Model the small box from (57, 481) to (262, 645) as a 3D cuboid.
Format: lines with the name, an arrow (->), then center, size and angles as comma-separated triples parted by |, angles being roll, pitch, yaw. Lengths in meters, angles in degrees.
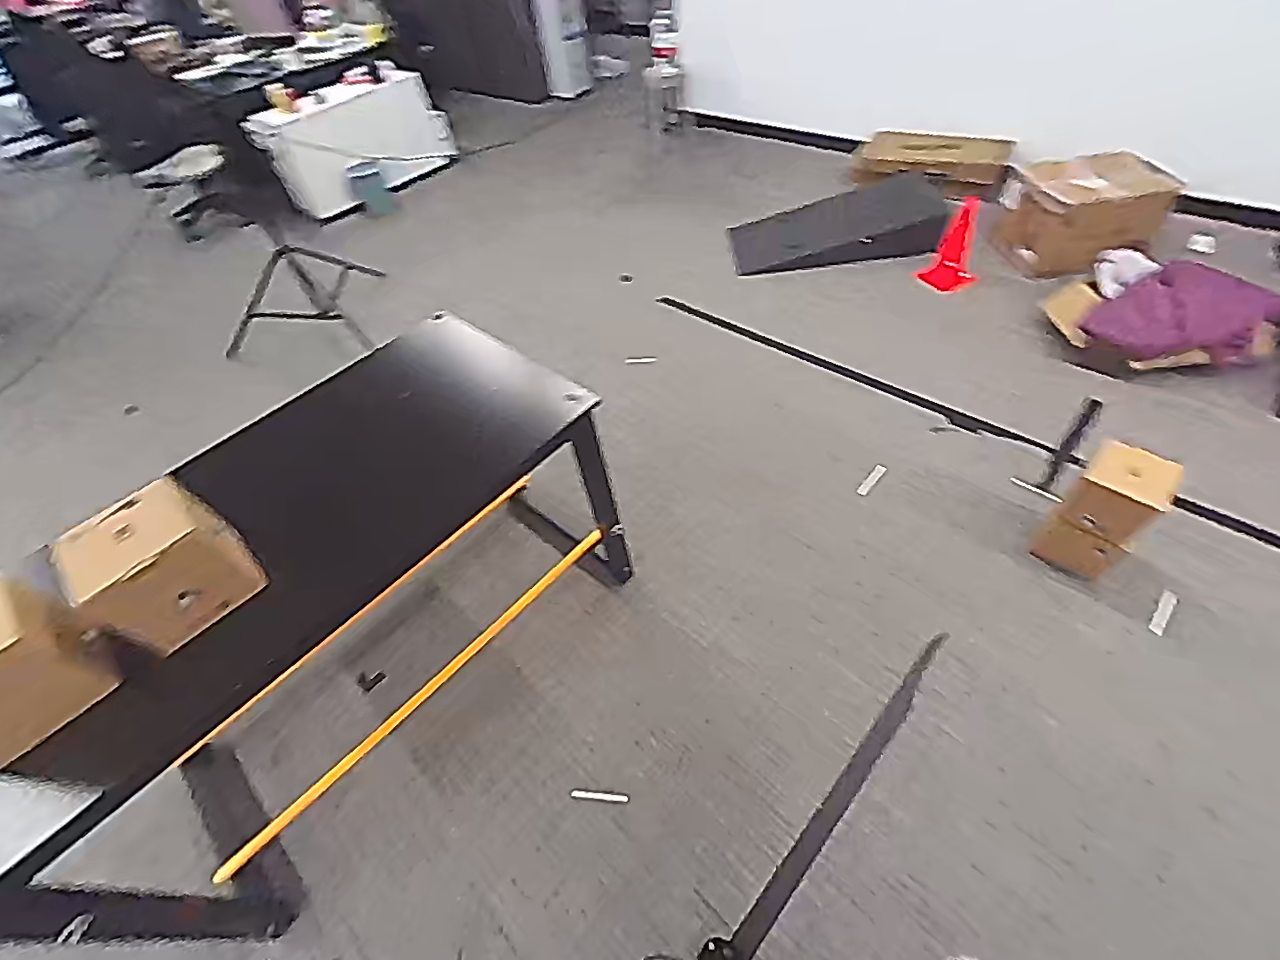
small box -> -0.761, 0.141, 0.874 | 0.179, 0.176, 0.168 | 34, 62, 30

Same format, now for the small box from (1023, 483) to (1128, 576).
small box -> 1.237, 0.146, 1.527 | 0.179, 0.176, 0.168 | 32, 62, 29

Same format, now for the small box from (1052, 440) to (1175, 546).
small box -> 1.224, 0.035, 1.409 | 0.168, 0.176, 0.179 | 33, 63, 31

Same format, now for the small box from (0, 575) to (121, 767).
small box -> -0.923, 0.280, 0.780 | 0.168, 0.176, 0.179 | 33, 61, 30
